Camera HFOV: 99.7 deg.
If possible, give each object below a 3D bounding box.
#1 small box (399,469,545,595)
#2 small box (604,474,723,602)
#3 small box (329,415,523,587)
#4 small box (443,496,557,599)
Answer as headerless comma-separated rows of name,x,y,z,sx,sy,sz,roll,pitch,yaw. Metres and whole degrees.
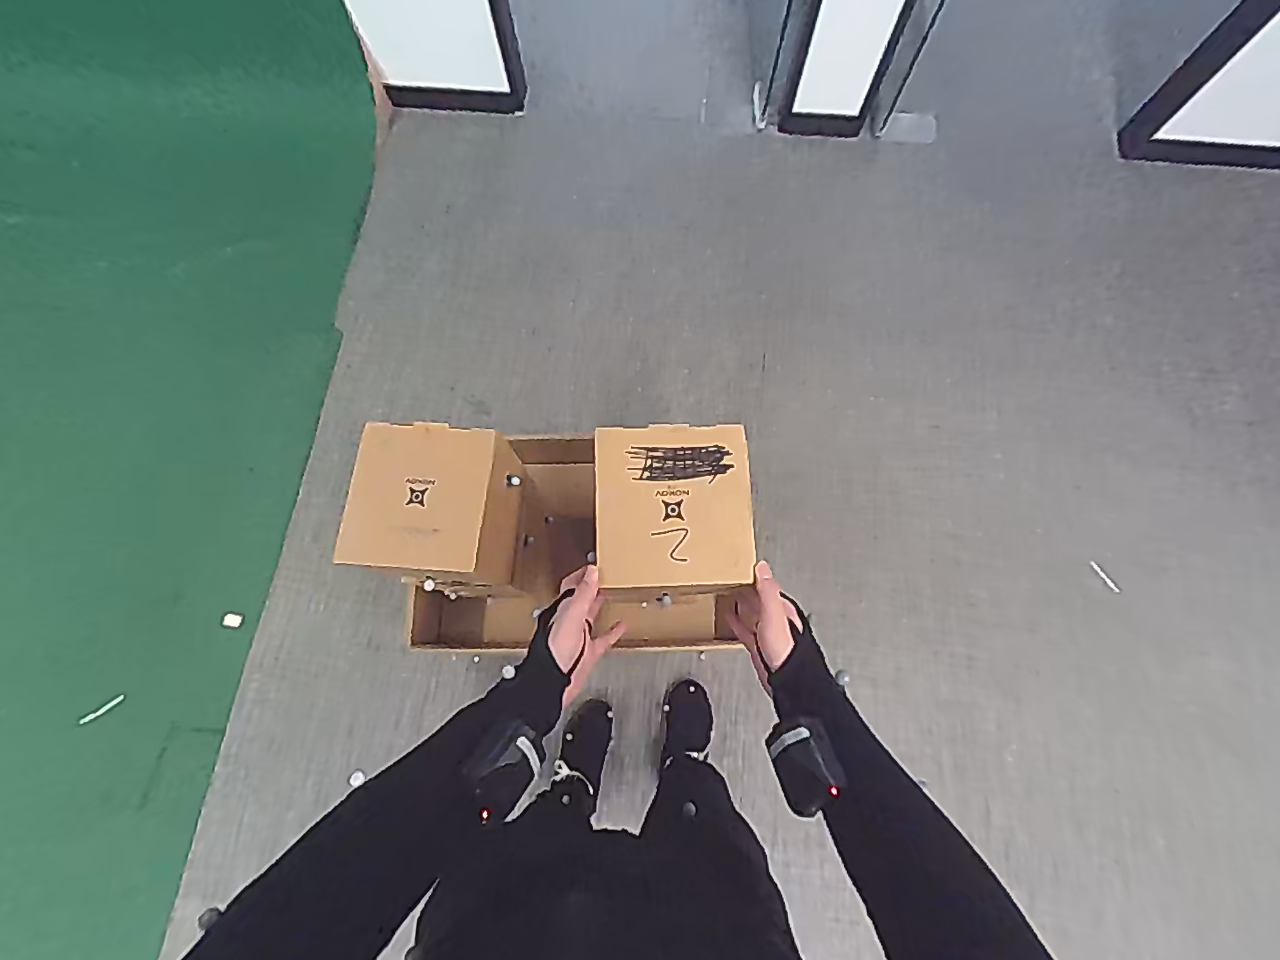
small box,-0.251,0.084,0.853,0.168,0.176,0.179,4,73,1
small box,0.032,0.098,0.845,0.168,0.176,0.179,-2,74,-1
small box,-0.256,0.035,0.698,0.168,0.176,0.179,5,74,2
small box,-0.251,0.130,1.011,0.168,0.176,0.179,-1,73,1
